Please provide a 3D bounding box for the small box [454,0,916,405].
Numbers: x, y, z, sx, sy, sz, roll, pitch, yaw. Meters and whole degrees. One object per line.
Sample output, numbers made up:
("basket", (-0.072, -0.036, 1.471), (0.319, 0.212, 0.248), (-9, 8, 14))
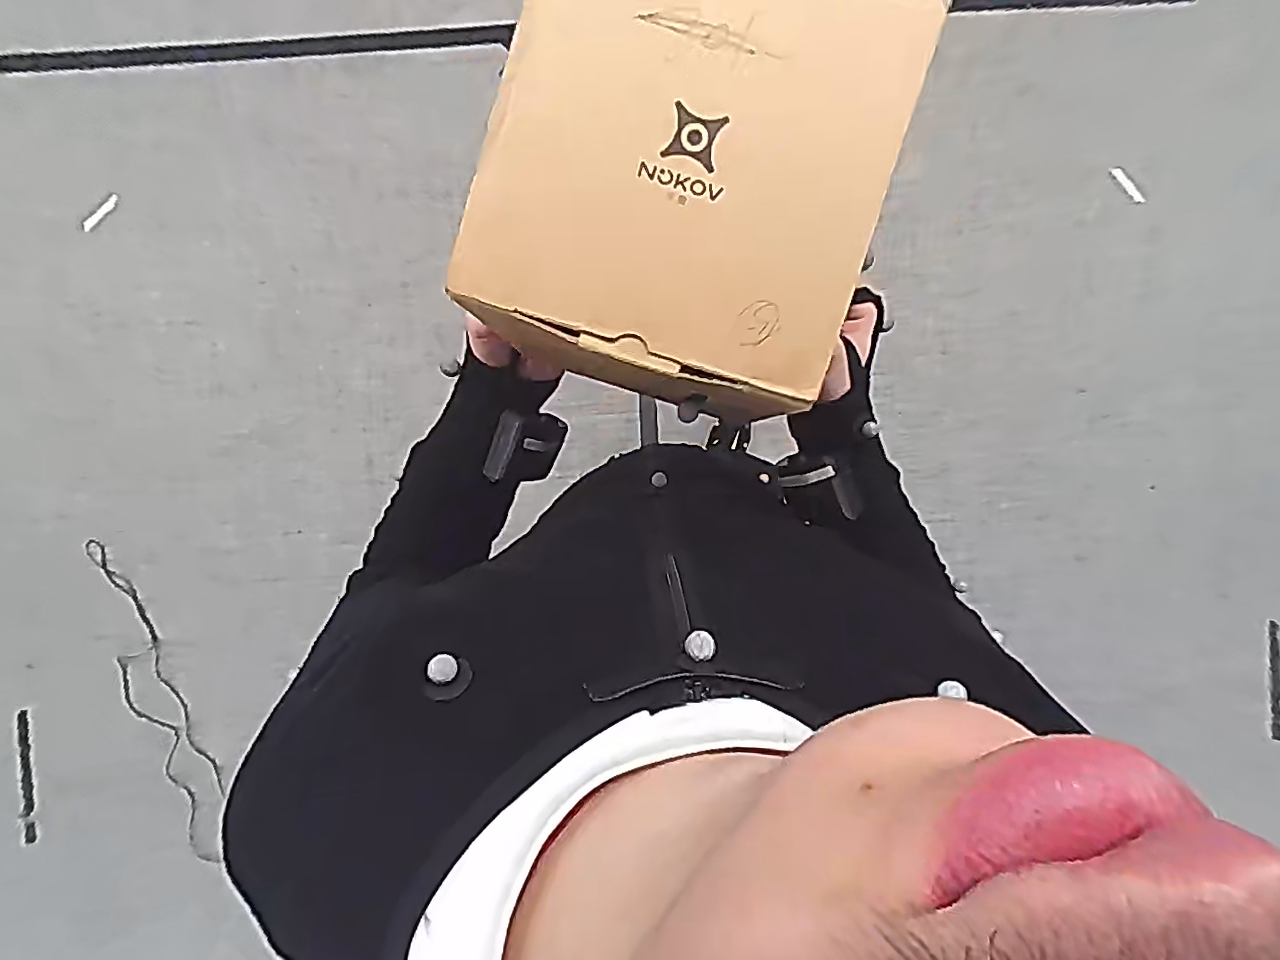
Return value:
("small box", (0.018, -0.149, 0.314), (0.168, 0.176, 0.179), (15, 93, -2))
